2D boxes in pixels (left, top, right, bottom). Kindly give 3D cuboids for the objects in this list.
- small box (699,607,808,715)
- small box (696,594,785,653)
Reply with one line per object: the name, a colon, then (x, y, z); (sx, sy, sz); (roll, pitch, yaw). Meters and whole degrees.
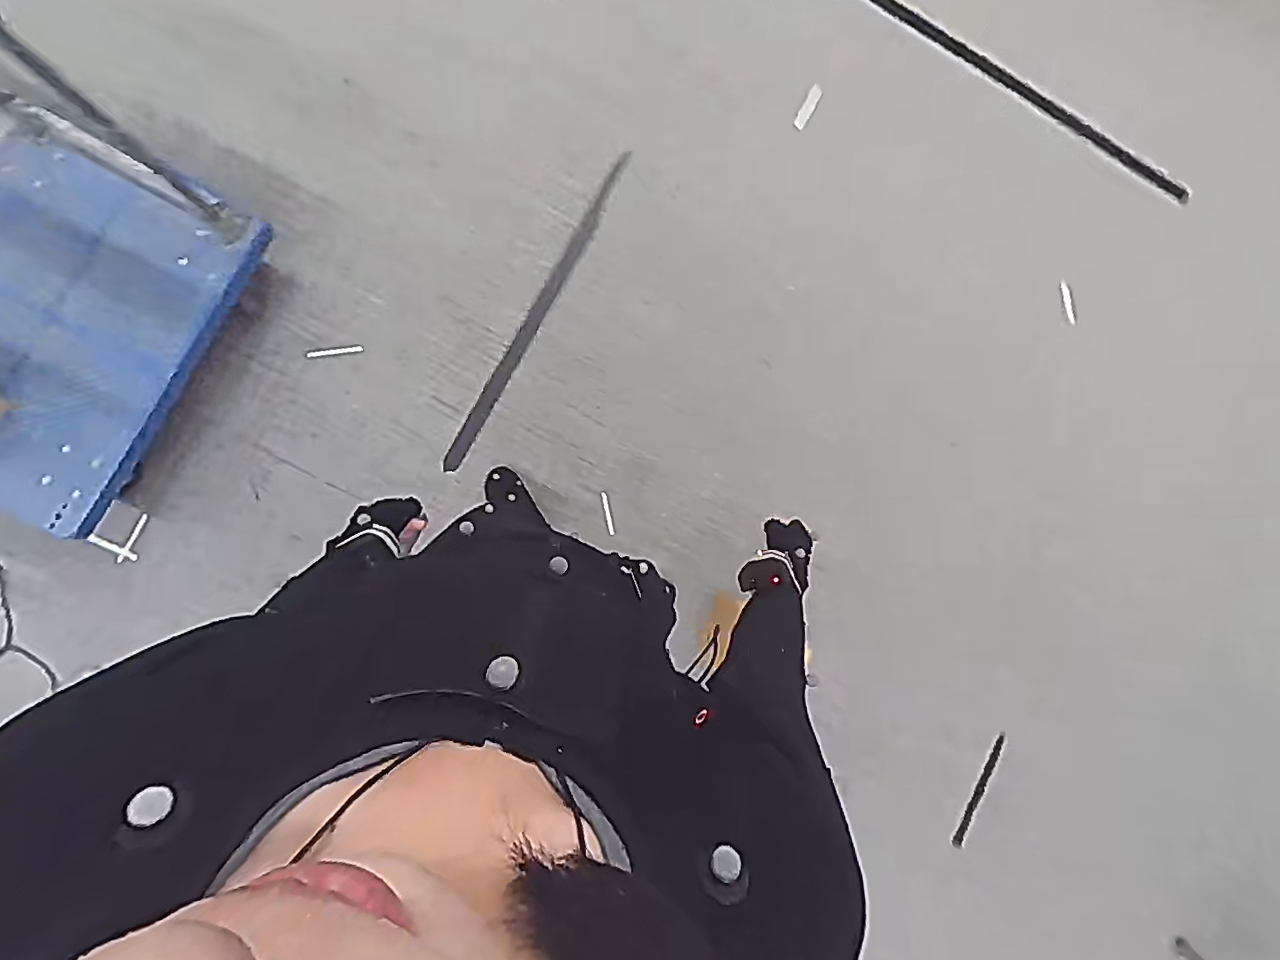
small box: (0.270, 0.433, 1.325); (0.179, 0.176, 0.168); (32, 85, -6)
small box: (0.266, 0.437, 1.489); (0.168, 0.176, 0.179); (26, 85, -6)
